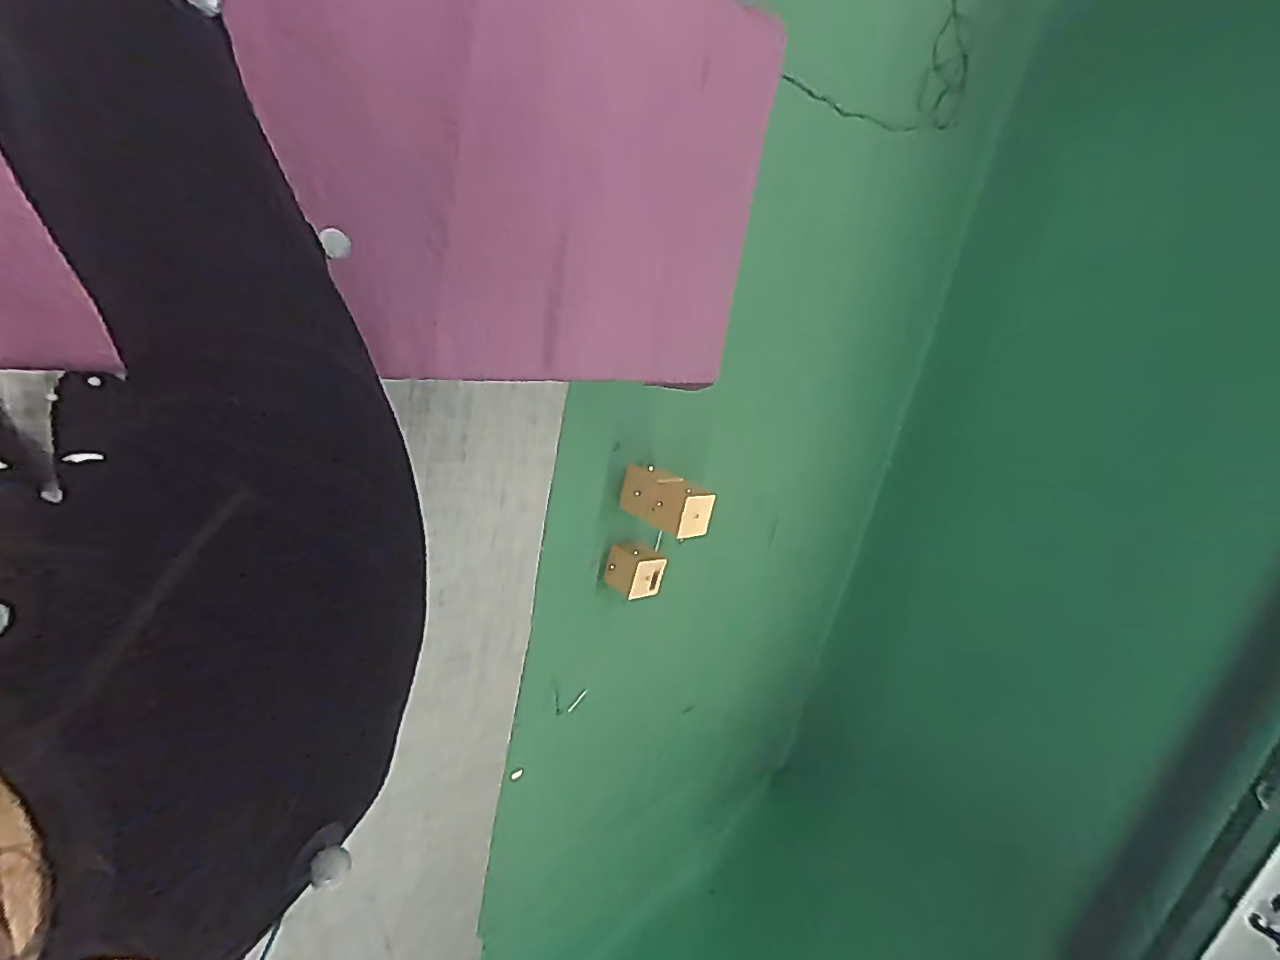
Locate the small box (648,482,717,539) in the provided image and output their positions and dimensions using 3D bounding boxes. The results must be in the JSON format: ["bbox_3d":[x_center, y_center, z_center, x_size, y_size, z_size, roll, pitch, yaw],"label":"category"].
[{"bbox_3d":[0.159,0.109,2.045,0.179,0.176,0.168,-2,110,-46],"label":"small box"}]

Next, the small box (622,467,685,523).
[{"bbox_3d":[0.049,0.055,2.152,0.168,0.176,0.179,-3,110,-46],"label":"small box"}]
